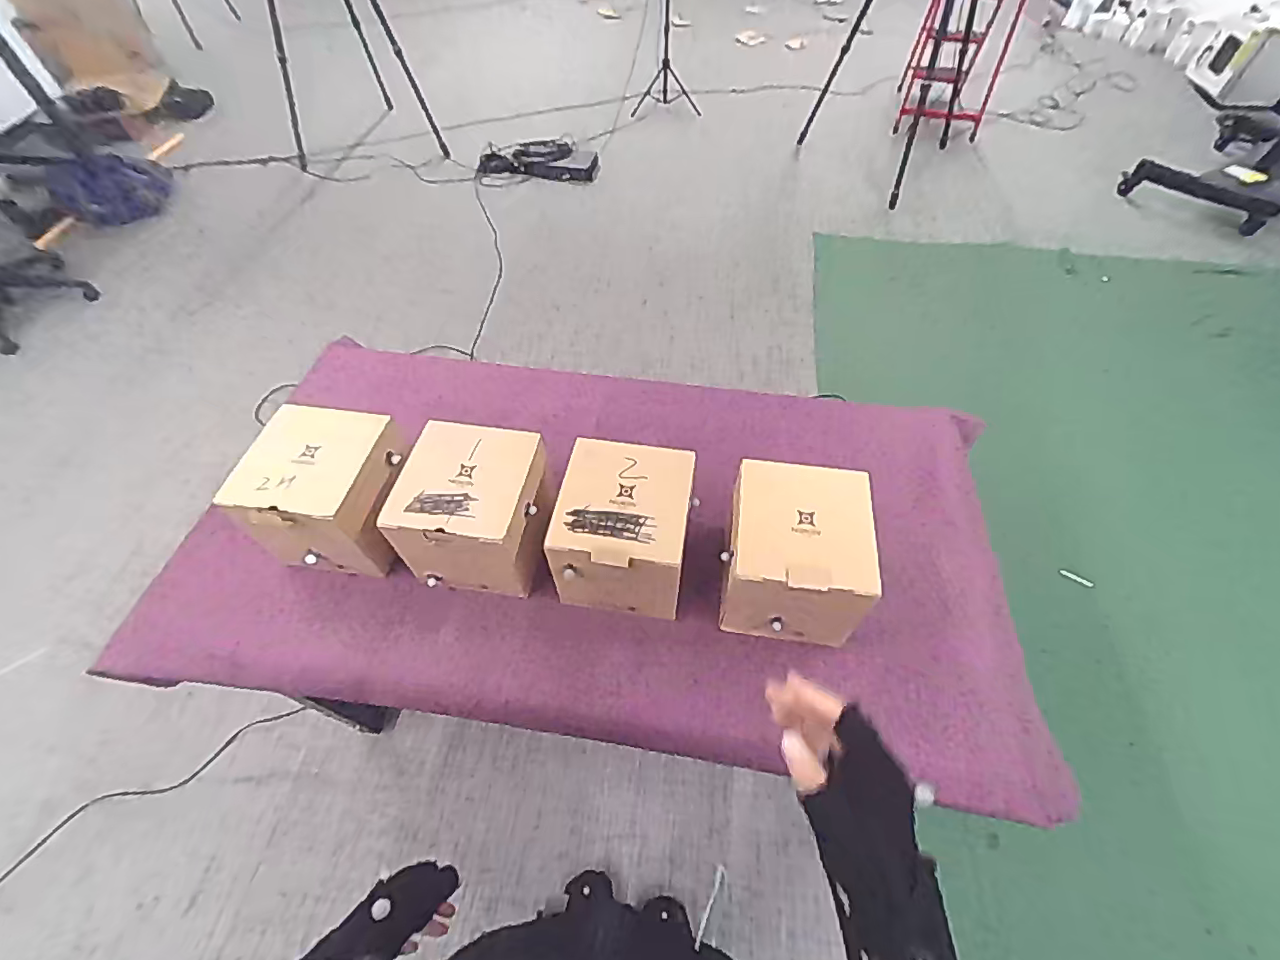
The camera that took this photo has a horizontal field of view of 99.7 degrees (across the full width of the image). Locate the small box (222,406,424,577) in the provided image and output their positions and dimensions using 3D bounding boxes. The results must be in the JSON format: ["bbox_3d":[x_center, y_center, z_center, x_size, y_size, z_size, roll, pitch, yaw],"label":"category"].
[{"bbox_3d":[-0.441,0.018,0.793,0.168,0.176,0.179,7,55,6],"label":"small box"}]

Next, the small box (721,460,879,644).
[{"bbox_3d":[0.203,0.100,0.729,0.168,0.176,0.179,7,55,6],"label":"small box"}]
